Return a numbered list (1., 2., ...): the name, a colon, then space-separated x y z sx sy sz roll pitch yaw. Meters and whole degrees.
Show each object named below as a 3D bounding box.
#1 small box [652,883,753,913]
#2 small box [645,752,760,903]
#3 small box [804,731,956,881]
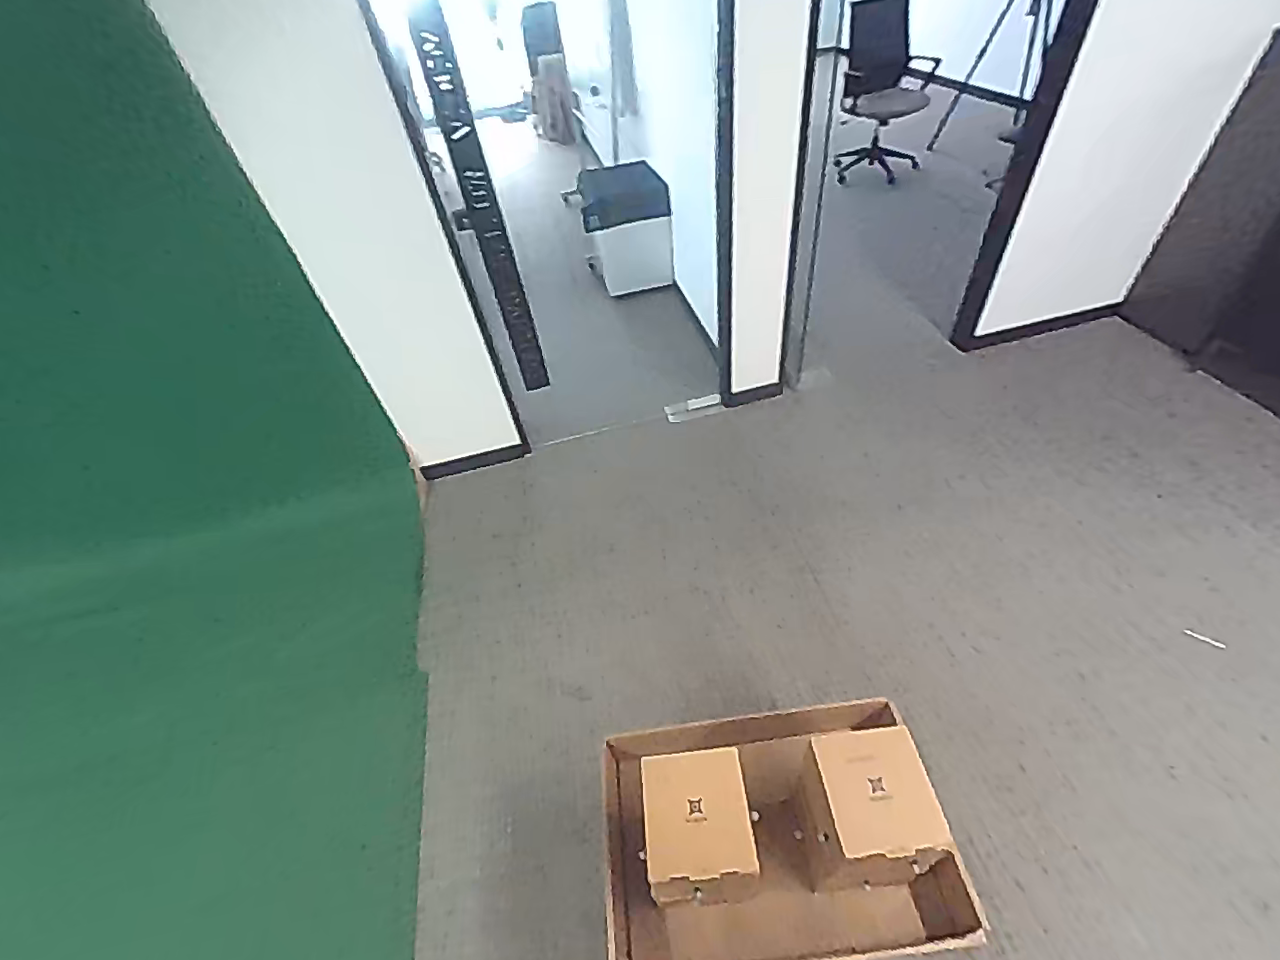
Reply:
1. small box: 0.114 0.700 1.019 0.179 0.176 0.168 -6 45 3
2. small box: 0.099 0.582 0.906 0.168 0.176 0.179 -7 45 2
3. small box: 0.381 0.542 0.893 0.168 0.176 0.179 -7 44 1
